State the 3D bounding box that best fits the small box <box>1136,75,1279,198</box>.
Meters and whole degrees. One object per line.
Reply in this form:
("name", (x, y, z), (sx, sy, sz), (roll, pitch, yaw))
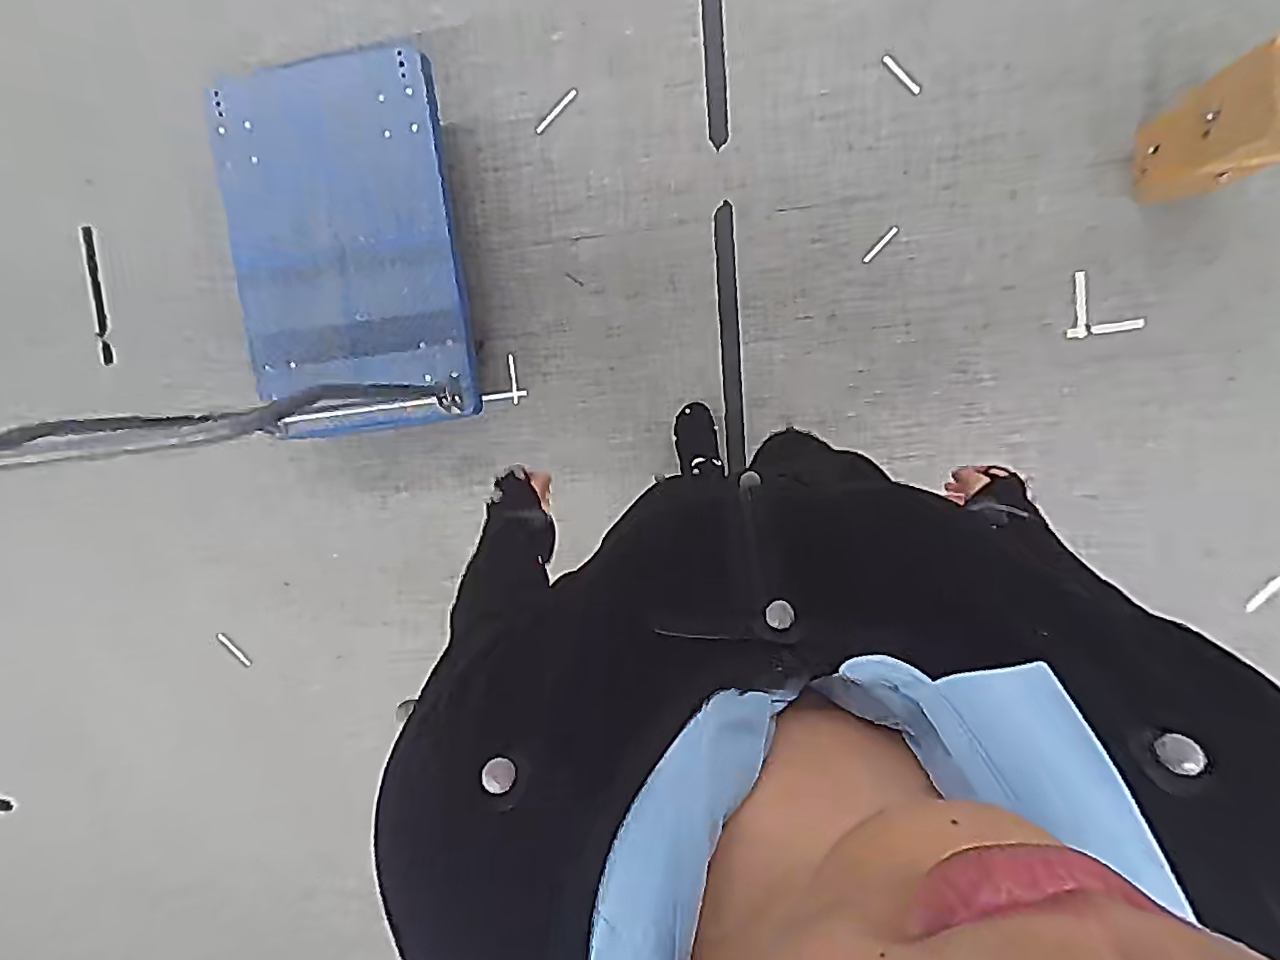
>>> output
("small box", (1.263, -0.752, 1.199), (0.179, 0.176, 0.168), (-6, 96, 7))
